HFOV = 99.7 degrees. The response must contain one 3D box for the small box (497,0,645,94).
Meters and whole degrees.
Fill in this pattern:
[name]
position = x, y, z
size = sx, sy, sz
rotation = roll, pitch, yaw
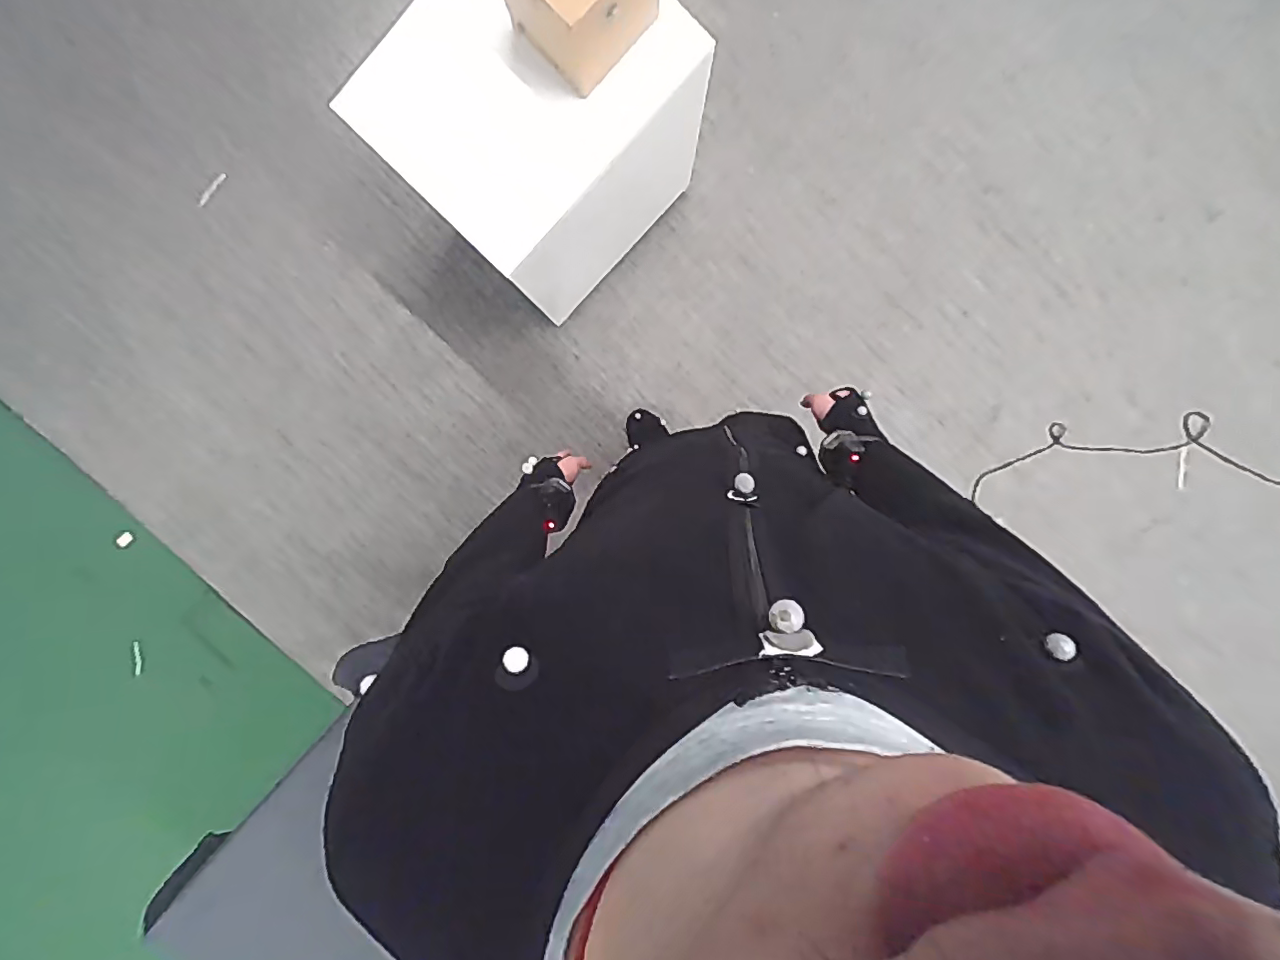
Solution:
[small box]
position = -0.100, -0.710, 0.768
size = 0.168, 0.176, 0.179
rotation = 43, 93, -6
